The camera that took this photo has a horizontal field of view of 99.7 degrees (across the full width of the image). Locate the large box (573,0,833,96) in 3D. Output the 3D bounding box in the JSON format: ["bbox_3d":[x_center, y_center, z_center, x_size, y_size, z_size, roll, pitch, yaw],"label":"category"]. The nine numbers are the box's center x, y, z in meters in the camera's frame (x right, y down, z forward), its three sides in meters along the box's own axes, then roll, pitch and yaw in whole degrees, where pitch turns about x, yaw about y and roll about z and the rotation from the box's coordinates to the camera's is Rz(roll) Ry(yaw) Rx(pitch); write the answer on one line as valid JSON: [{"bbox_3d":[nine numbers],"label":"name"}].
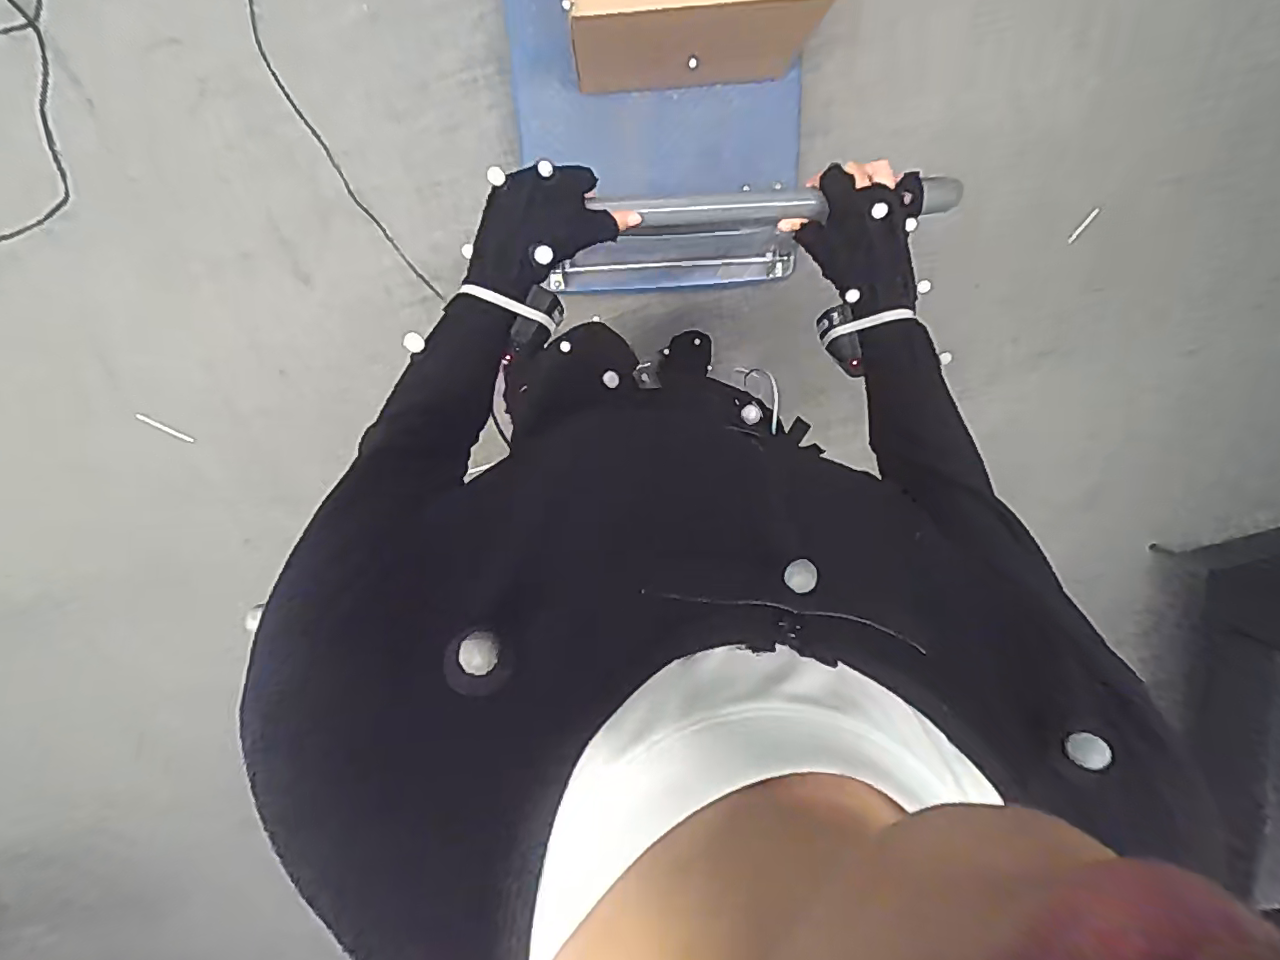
[{"bbox_3d":[0.083,-0.891,0.903,0.408,0.320,0.320,-6,106,0],"label":"large box"}]
